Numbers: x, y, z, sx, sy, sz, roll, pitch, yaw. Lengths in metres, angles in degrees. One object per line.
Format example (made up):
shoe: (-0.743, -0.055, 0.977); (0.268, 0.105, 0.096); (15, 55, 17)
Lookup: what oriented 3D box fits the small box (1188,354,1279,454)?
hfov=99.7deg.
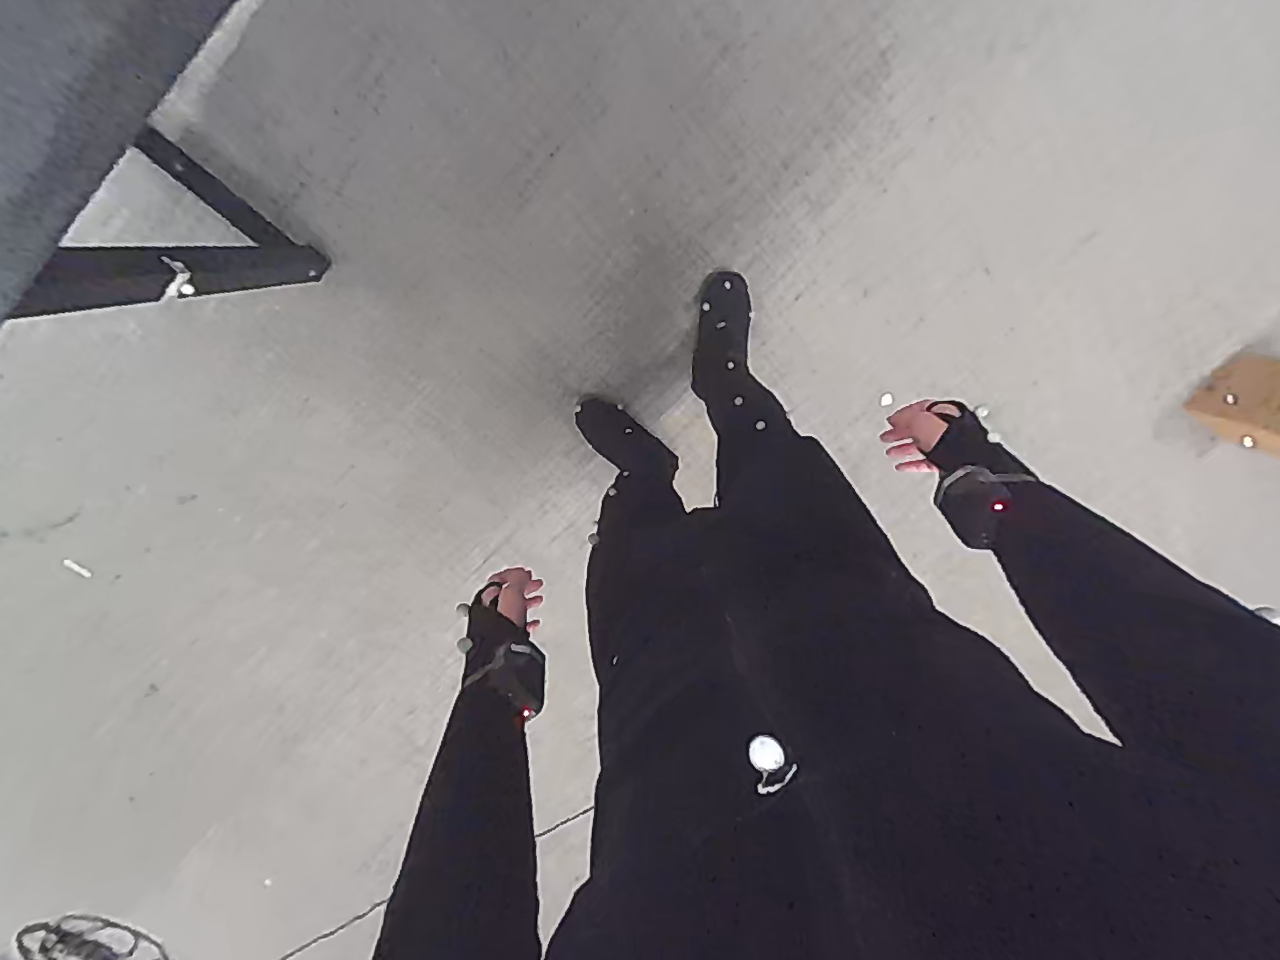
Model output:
small box: (1.488, -0.182, 1.286); (0.179, 0.176, 0.168); (28, 110, -15)

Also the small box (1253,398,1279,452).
small box: (1.489, -0.113, 1.136); (0.179, 0.176, 0.168); (30, 109, -13)
